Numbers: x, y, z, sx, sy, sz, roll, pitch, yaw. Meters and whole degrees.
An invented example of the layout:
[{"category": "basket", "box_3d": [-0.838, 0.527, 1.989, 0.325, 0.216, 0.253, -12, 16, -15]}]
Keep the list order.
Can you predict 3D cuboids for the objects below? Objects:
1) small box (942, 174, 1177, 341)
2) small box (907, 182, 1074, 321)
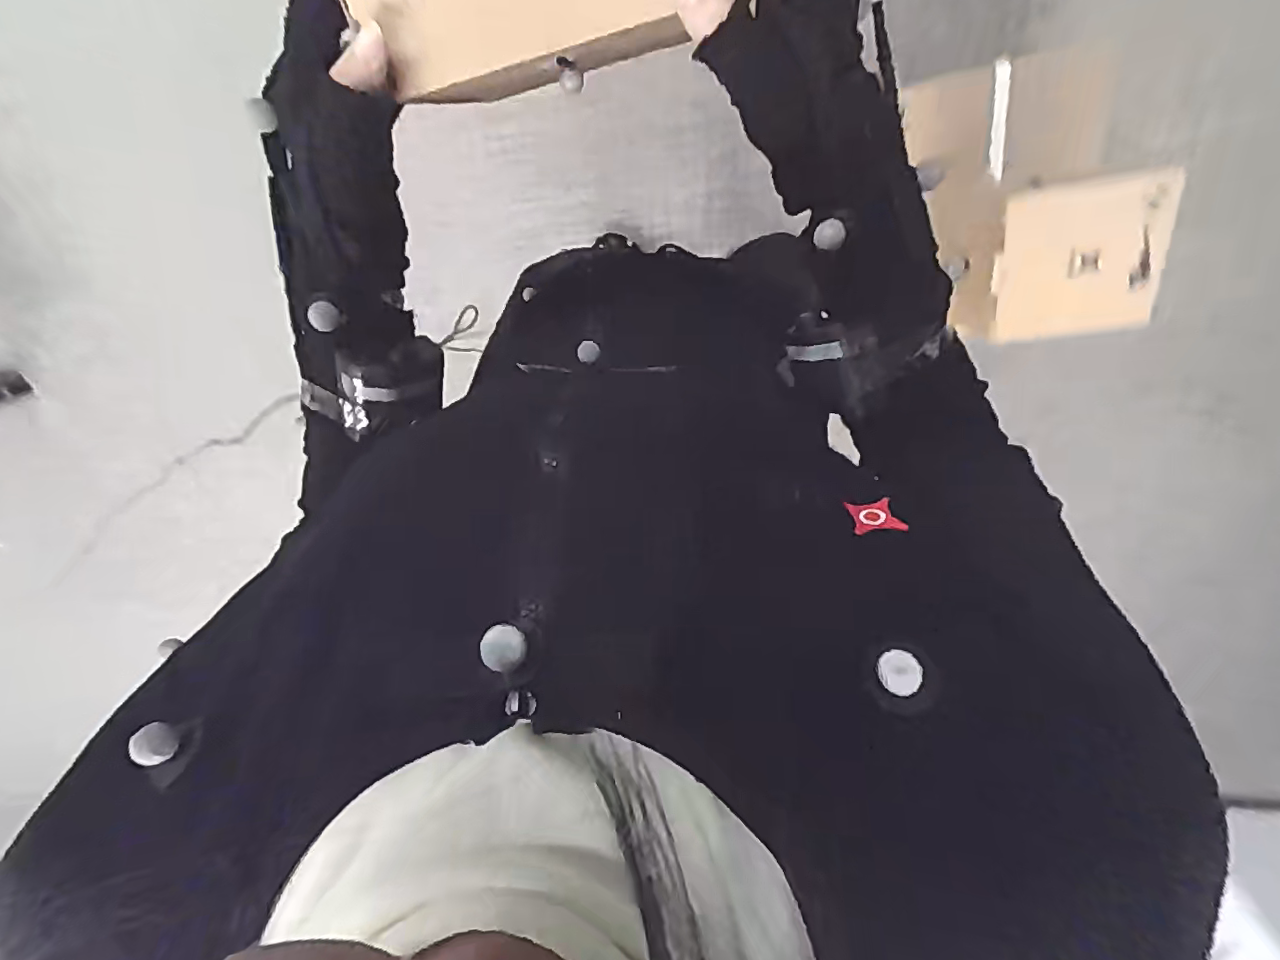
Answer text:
[{"category": "small box", "box_3d": [0.517, -0.287, 0.702, 0.179, 0.176, 0.168, -5, 116, 10]}, {"category": "small box", "box_3d": [0.534, -0.359, 0.848, 0.168, 0.176, 0.179, -3, 116, 8]}]
